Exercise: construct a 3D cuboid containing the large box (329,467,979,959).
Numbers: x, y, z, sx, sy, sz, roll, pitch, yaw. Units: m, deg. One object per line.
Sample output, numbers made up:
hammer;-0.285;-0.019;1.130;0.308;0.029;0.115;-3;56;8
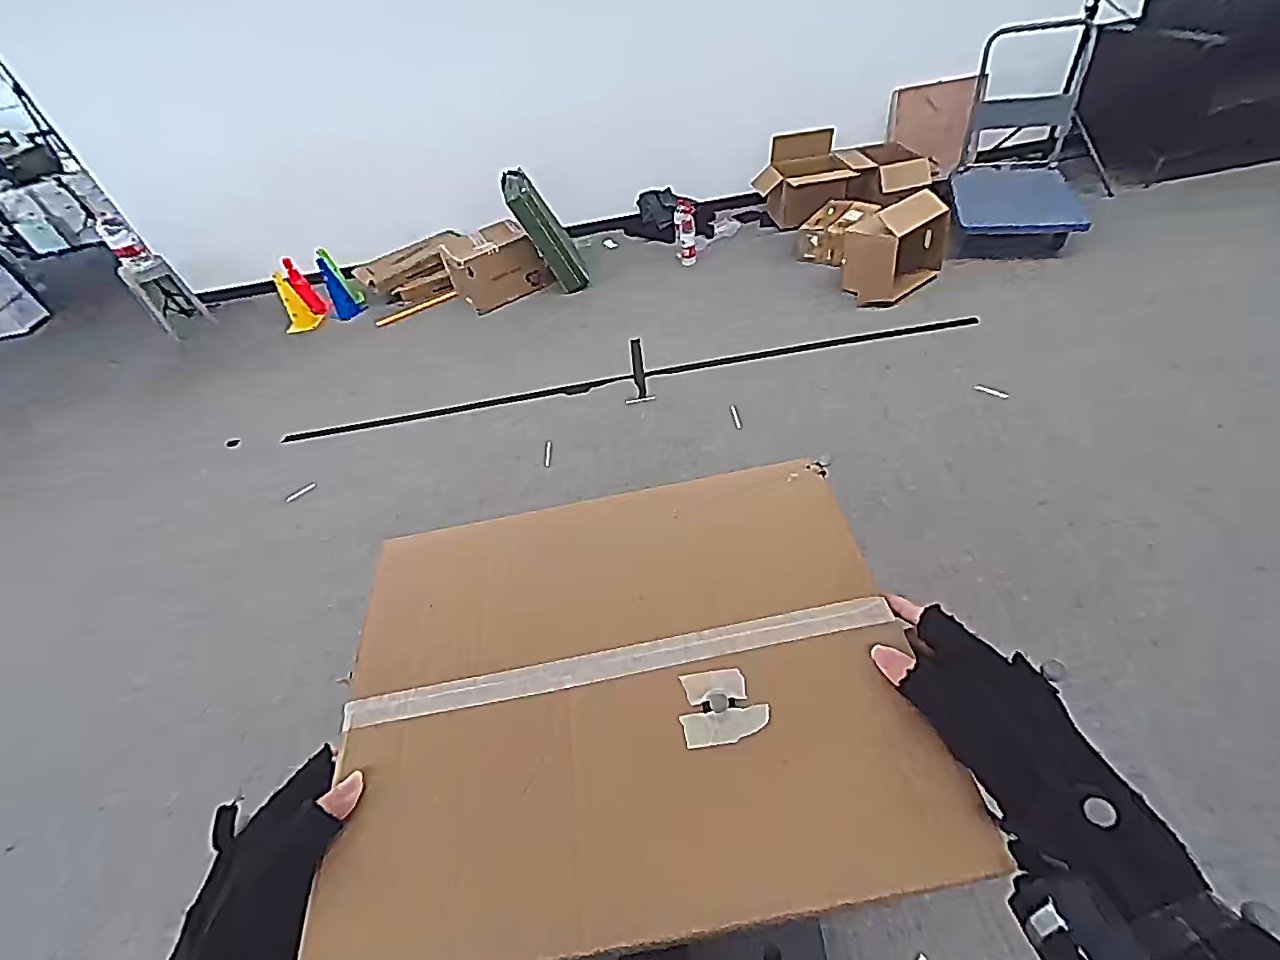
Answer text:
large box;0.004;0.235;0.526;0.408;0.320;0.320;-11;50;0
